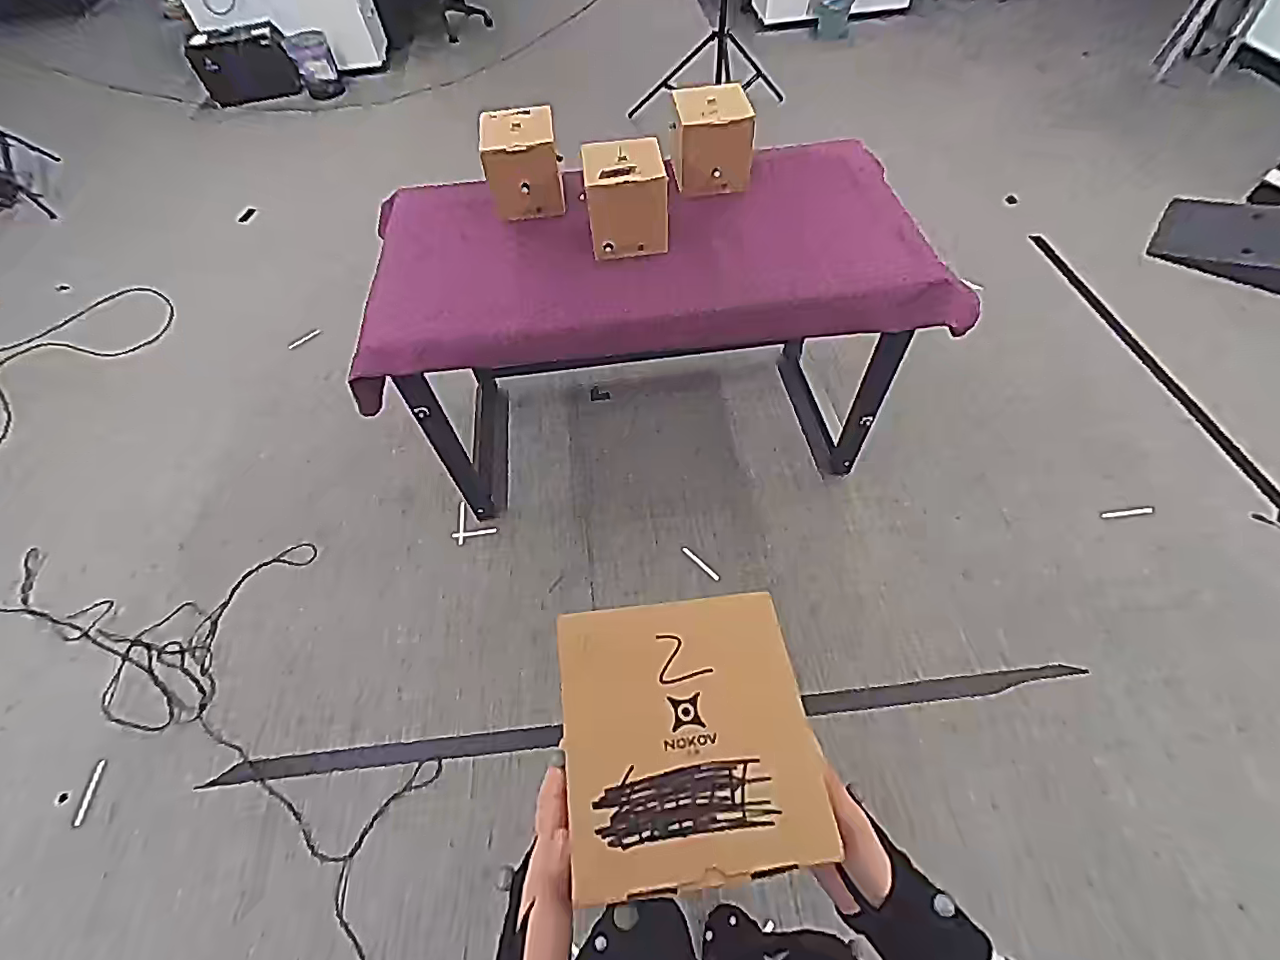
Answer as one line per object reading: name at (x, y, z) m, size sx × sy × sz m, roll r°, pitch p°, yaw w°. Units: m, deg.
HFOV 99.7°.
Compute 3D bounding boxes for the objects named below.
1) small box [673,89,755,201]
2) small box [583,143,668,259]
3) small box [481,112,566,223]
small box at (0.171, -0.805, 1.306) m, size 0.168 × 0.176 × 0.179 m, roll -8°, pitch 57°, yaw 0°
small box at (-0.030, -0.605, 1.188) m, size 0.168 × 0.176 × 0.179 m, roll -7°, pitch 55°, yaw -1°
small box at (-0.272, -0.736, 1.289) m, size 0.168 × 0.176 × 0.179 m, roll -7°, pitch 58°, yaw -2°
